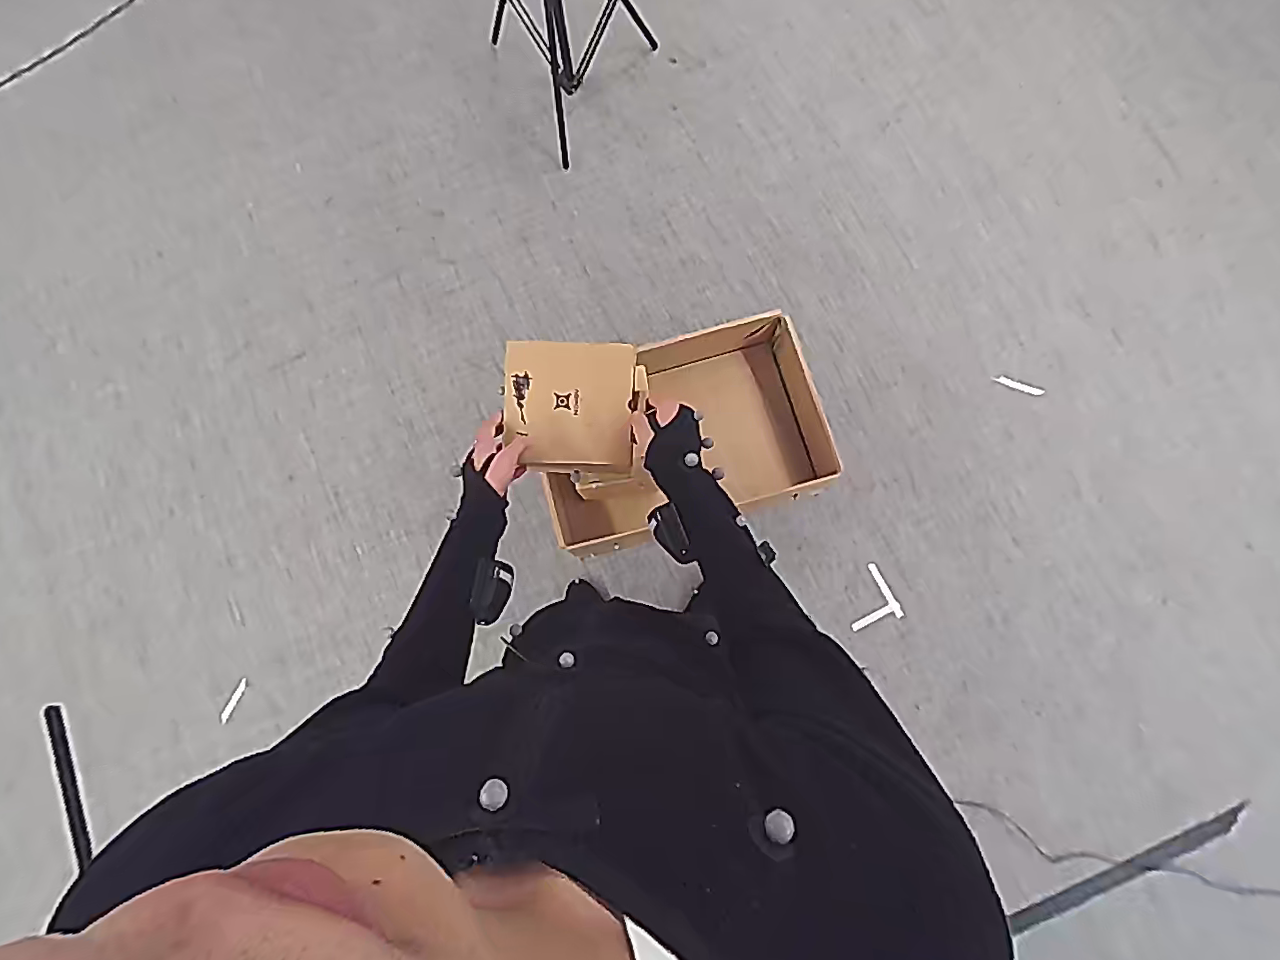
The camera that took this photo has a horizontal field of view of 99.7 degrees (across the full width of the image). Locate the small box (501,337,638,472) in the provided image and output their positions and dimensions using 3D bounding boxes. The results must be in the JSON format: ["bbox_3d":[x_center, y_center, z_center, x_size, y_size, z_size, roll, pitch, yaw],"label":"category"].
[{"bbox_3d":[-0.097,-0.102,0.798,0.179,0.176,0.168,2,86,-1],"label":"small box"}]

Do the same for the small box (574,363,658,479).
[{"bbox_3d":[-0.056,-0.104,1.047,0.168,0.176,0.179,-8,78,1],"label":"small box"}]
